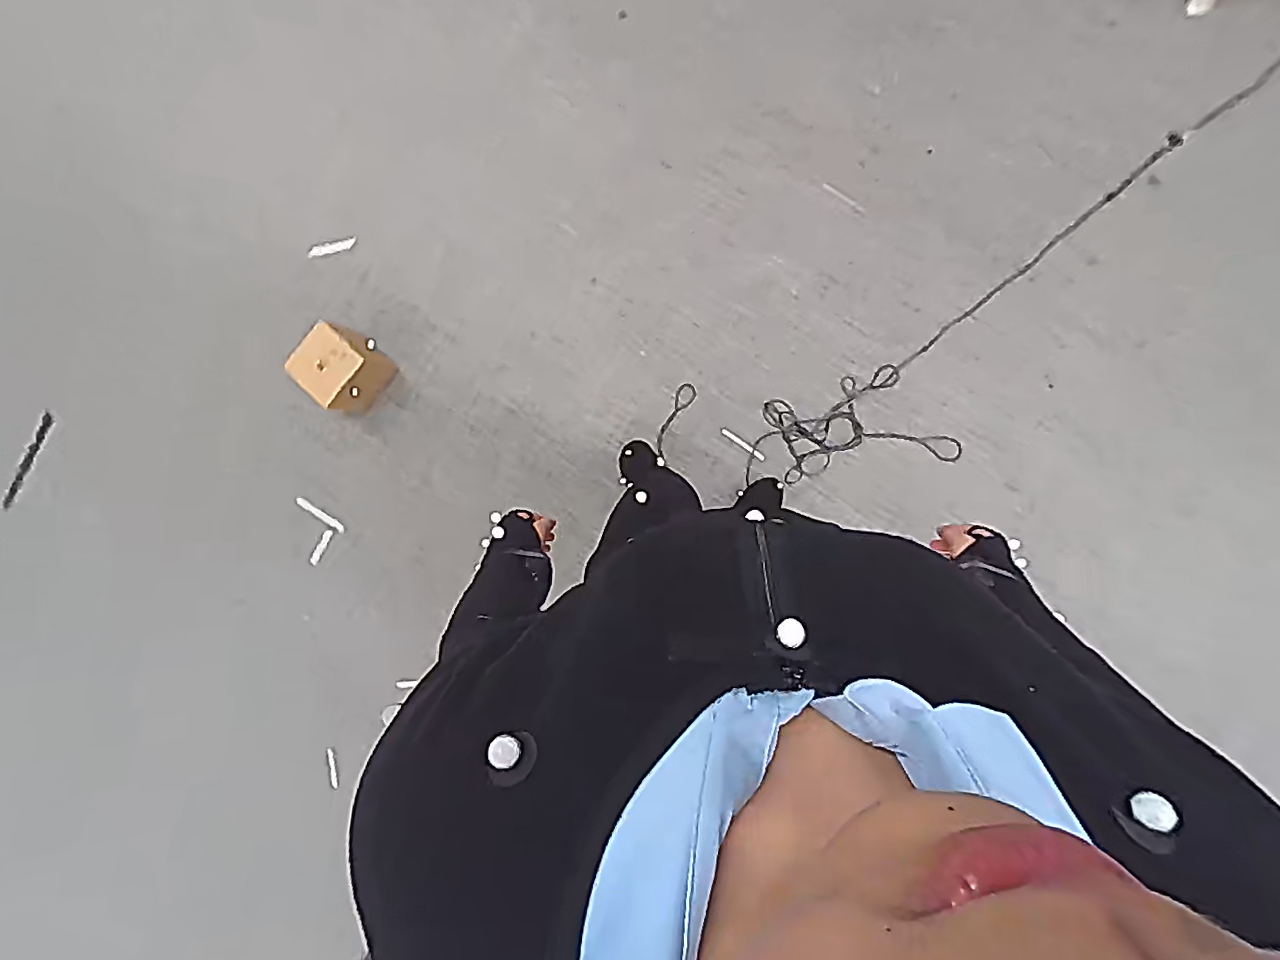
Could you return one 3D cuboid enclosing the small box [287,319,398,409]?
[{"bbox_3d":[-0.823,-0.315,1.514,0.168,0.176,0.179,44,97,2],"label":"small box"}]
